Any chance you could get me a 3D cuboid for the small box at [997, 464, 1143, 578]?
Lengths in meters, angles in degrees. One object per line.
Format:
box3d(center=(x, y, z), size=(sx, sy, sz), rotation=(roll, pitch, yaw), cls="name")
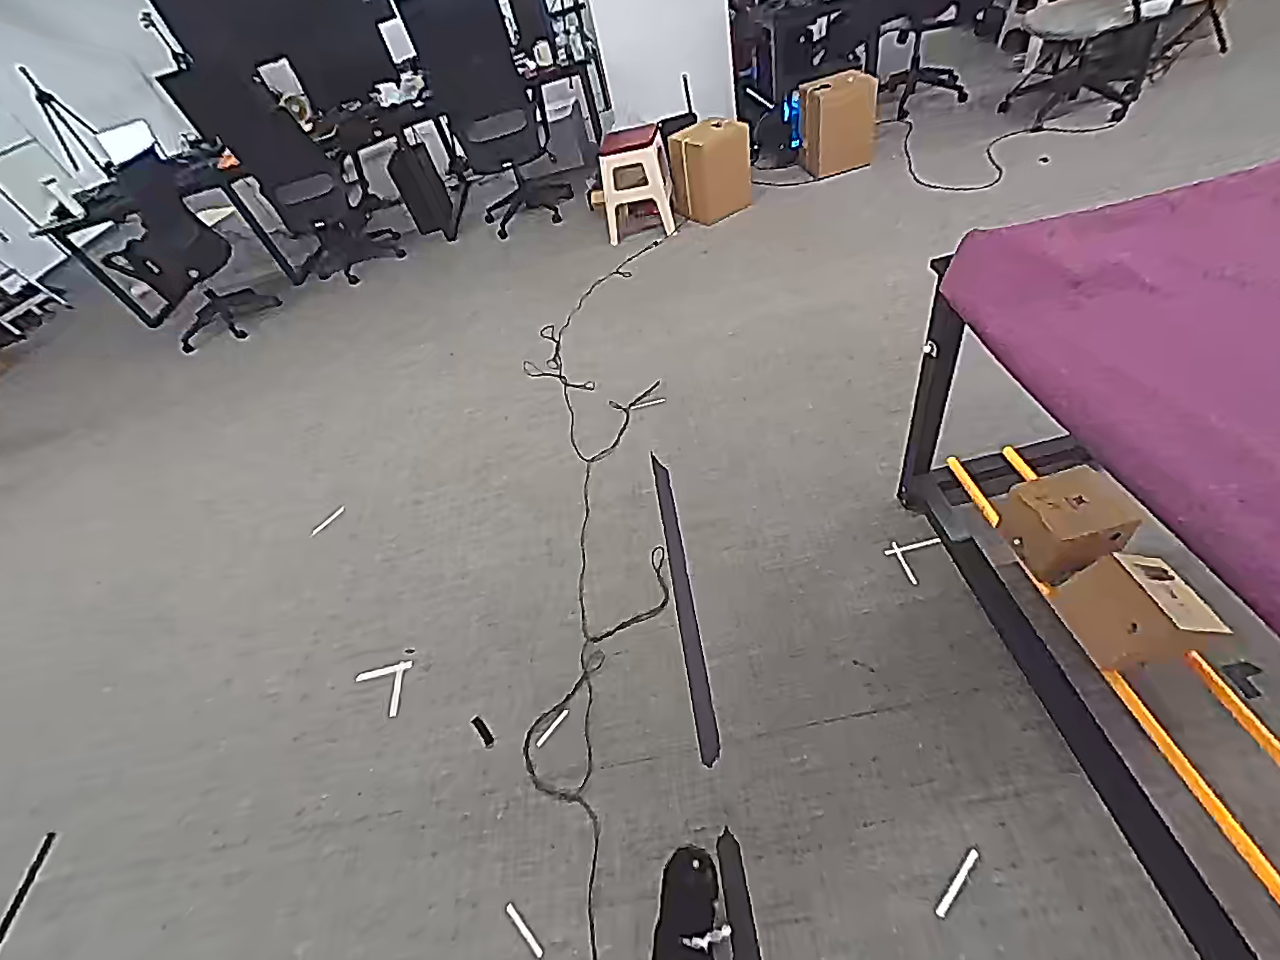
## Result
box3d(center=(0.956, 0.096, 1.224), size=(0.179, 0.176, 0.168), rotation=(-17, 46, 4), cls="small box")
